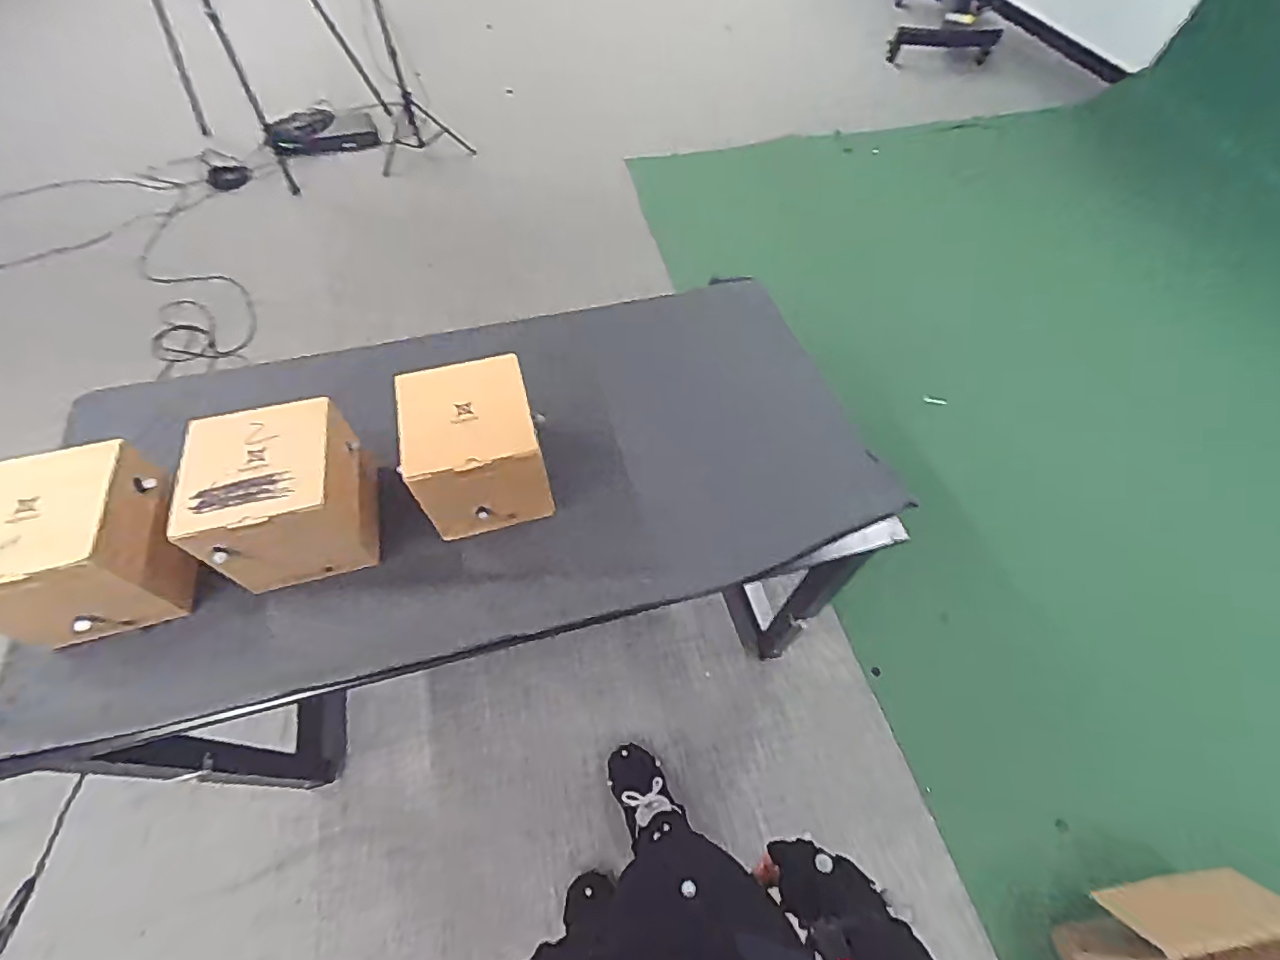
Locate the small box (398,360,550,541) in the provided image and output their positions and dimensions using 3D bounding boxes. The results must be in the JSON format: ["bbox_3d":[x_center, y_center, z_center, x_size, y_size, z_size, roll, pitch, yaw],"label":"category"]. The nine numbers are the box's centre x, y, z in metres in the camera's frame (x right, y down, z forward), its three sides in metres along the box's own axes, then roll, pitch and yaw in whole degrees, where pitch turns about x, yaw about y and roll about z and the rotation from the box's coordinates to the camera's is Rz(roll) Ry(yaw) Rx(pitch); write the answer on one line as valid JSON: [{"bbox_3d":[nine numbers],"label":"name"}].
[{"bbox_3d":[-0.230,-0.039,0.770,0.168,0.176,0.179,-14,60,-11],"label":"small box"}]

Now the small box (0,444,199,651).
[{"bbox_3d":[-0.691,0.086,0.668,0.168,0.176,0.179,-14,58,-11],"label":"small box"}]
